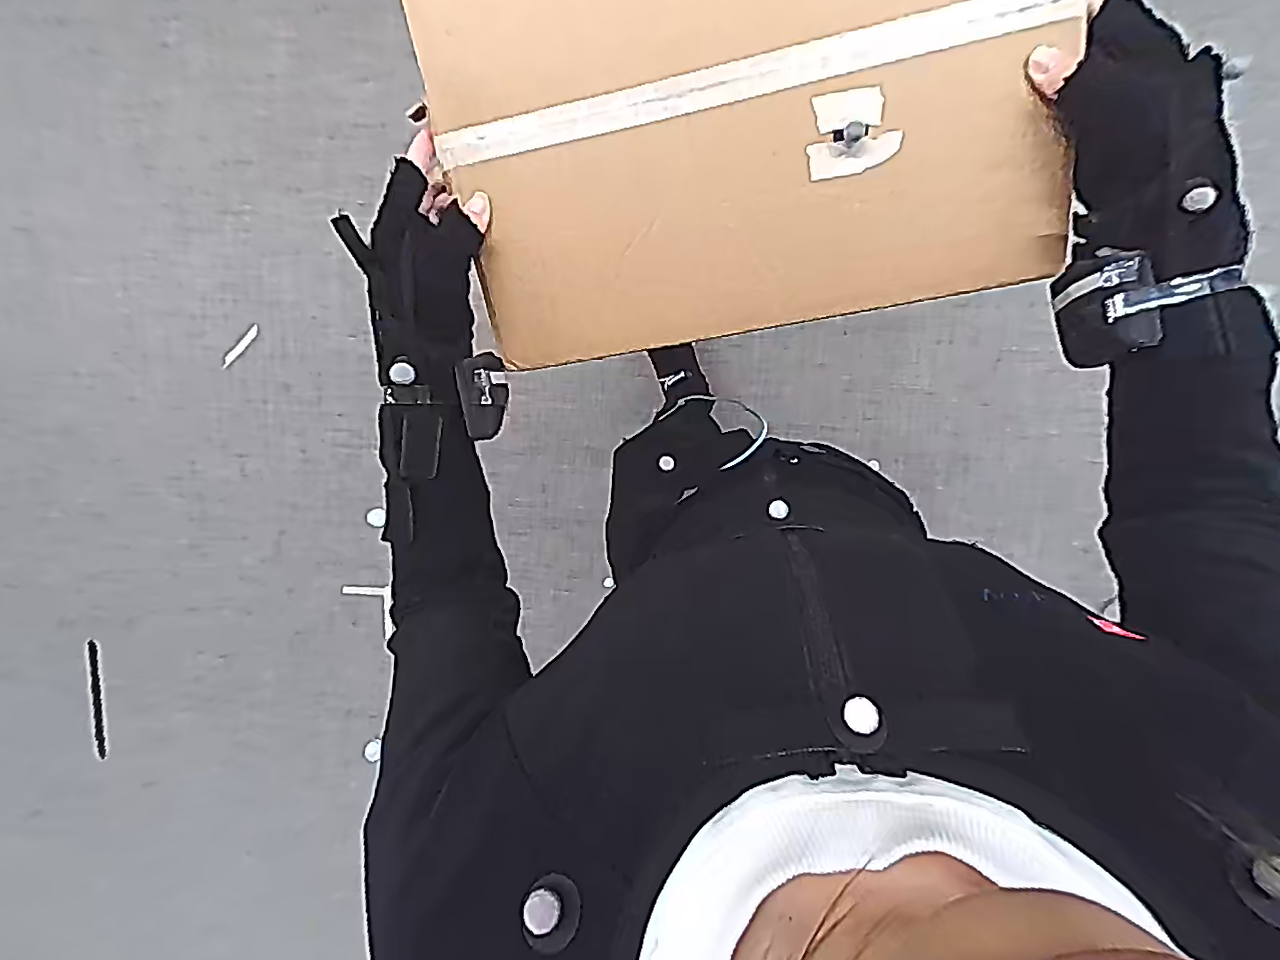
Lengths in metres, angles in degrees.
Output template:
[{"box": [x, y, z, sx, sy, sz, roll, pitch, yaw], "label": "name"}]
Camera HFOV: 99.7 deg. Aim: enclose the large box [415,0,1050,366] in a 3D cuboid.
[{"box": [0.072, -0.316, 0.503, 0.408, 0.320, 0.320, -9, 111, 8], "label": "large box"}]
